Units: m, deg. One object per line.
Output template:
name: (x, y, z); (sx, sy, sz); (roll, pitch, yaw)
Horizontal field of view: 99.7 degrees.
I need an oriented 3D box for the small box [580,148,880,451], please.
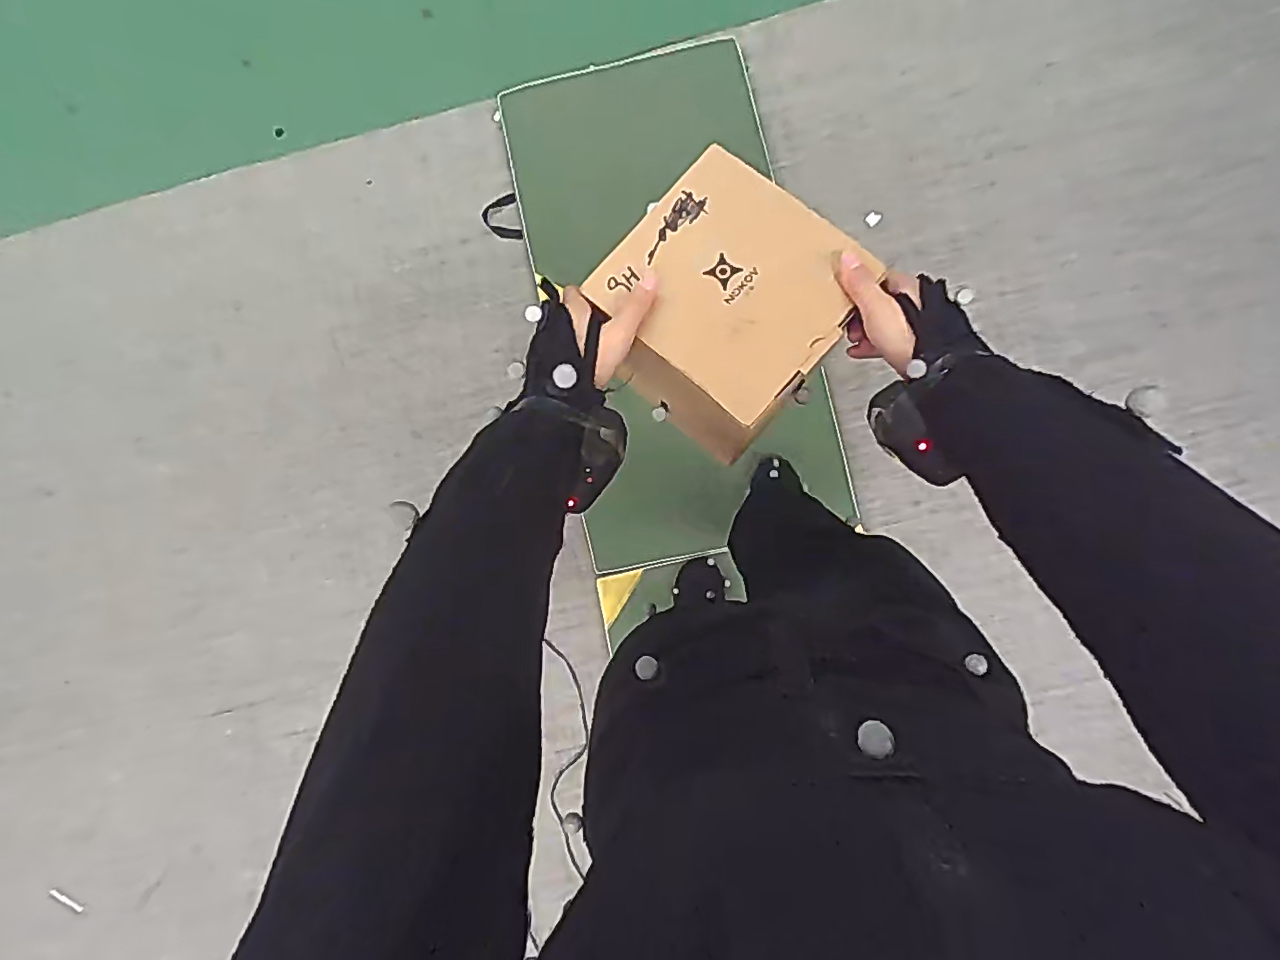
small box: (0.073, -0.143, 0.498); (0.179, 0.176, 0.168); (42, 86, 8)
